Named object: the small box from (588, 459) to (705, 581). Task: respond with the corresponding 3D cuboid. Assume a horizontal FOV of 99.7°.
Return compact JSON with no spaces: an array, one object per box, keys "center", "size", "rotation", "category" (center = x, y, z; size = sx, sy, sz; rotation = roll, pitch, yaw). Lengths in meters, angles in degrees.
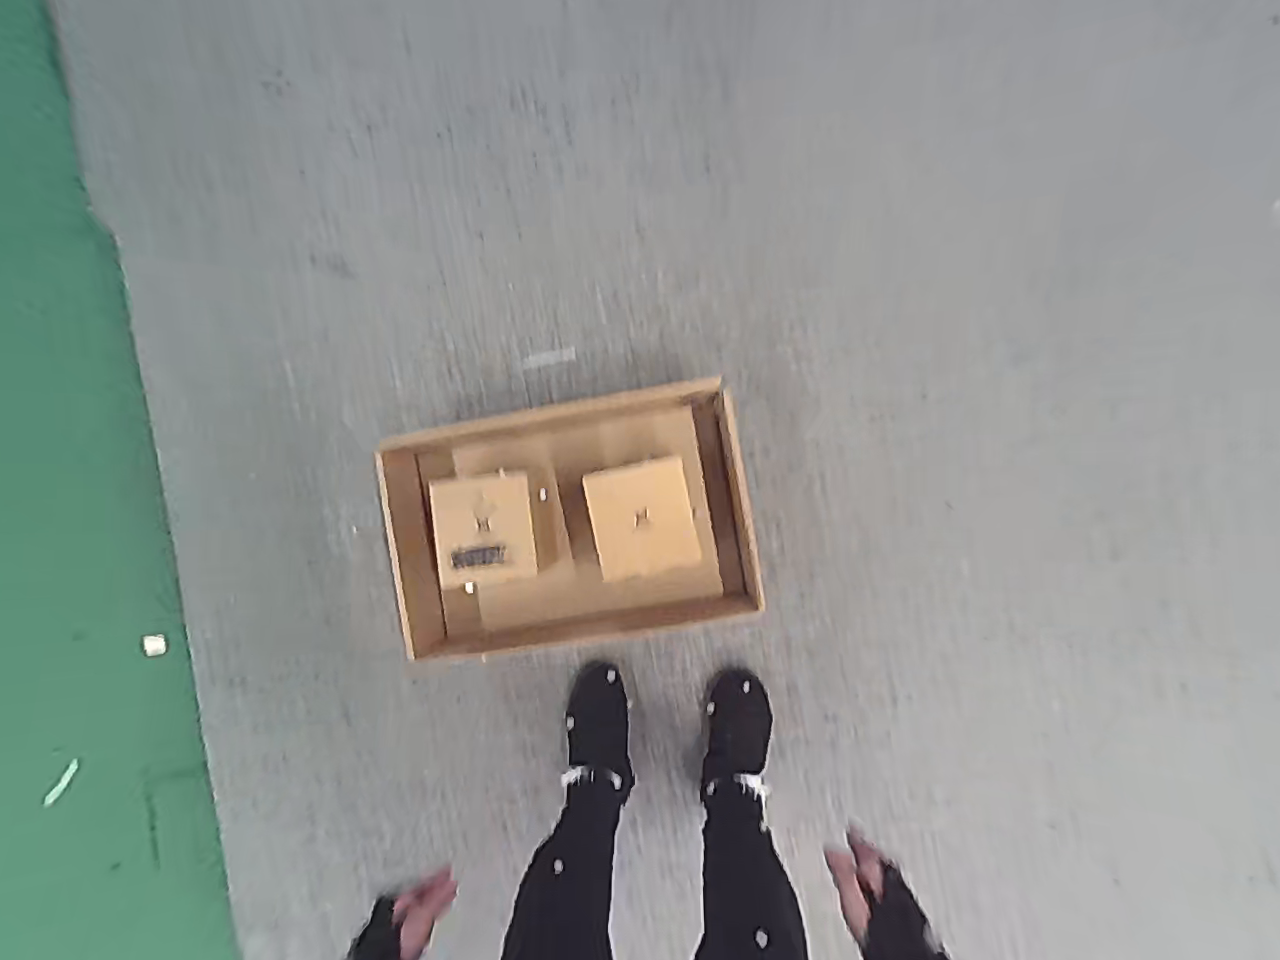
[{"center":[0.014,0.066,0.957],"size":[0.168,0.176,0.179],"rotation":[-13,90,4],"category":"small box"}]
